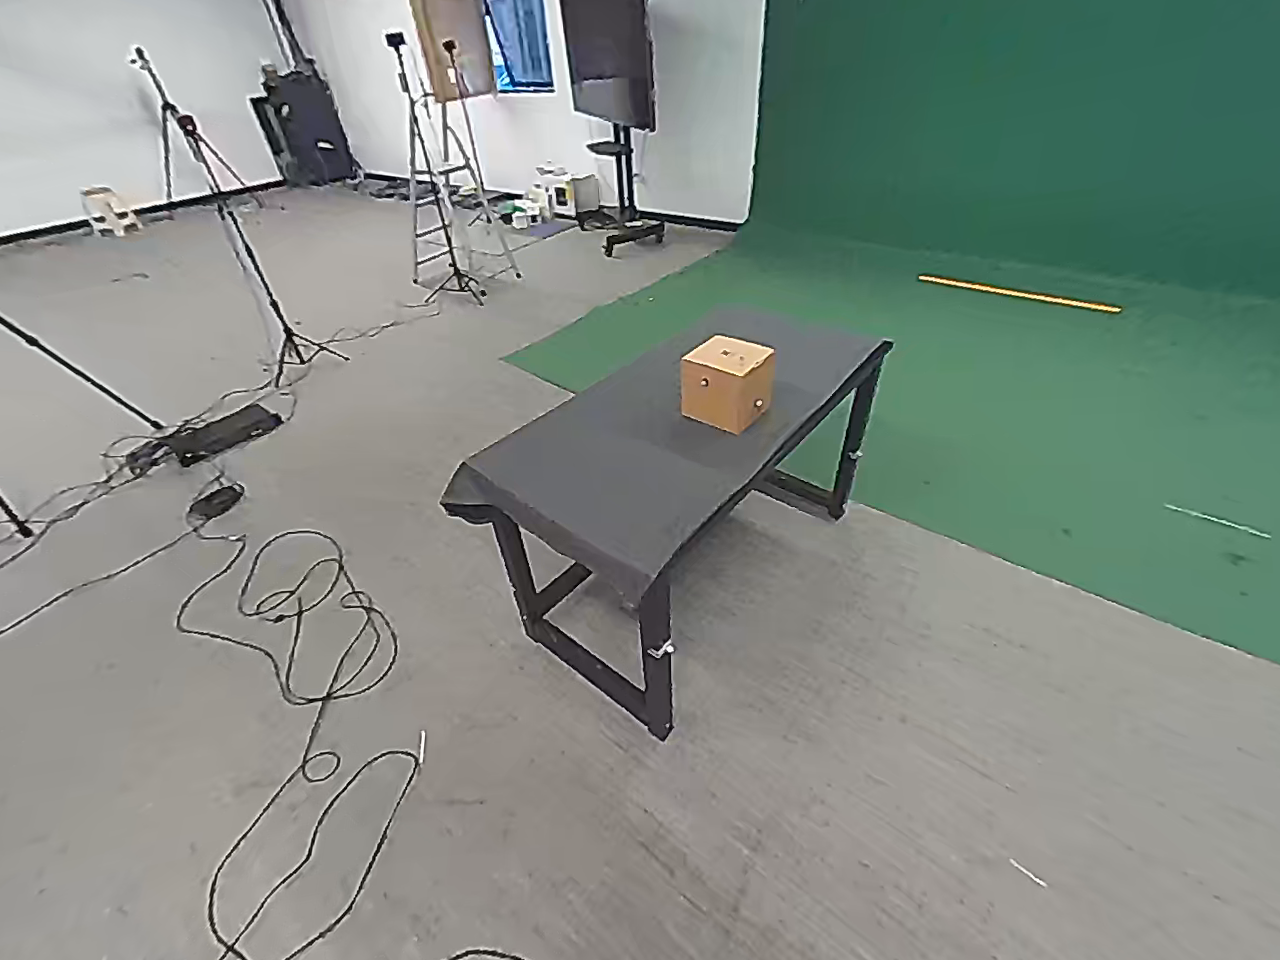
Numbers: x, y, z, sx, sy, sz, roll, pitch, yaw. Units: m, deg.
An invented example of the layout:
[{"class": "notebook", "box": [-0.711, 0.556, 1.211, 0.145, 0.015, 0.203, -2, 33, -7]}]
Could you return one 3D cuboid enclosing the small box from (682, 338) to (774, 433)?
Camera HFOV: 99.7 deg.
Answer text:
[{"class": "small box", "box": [0.223, -0.243, 1.395, 0.179, 0.176, 0.168, 25, 47, 31]}]
